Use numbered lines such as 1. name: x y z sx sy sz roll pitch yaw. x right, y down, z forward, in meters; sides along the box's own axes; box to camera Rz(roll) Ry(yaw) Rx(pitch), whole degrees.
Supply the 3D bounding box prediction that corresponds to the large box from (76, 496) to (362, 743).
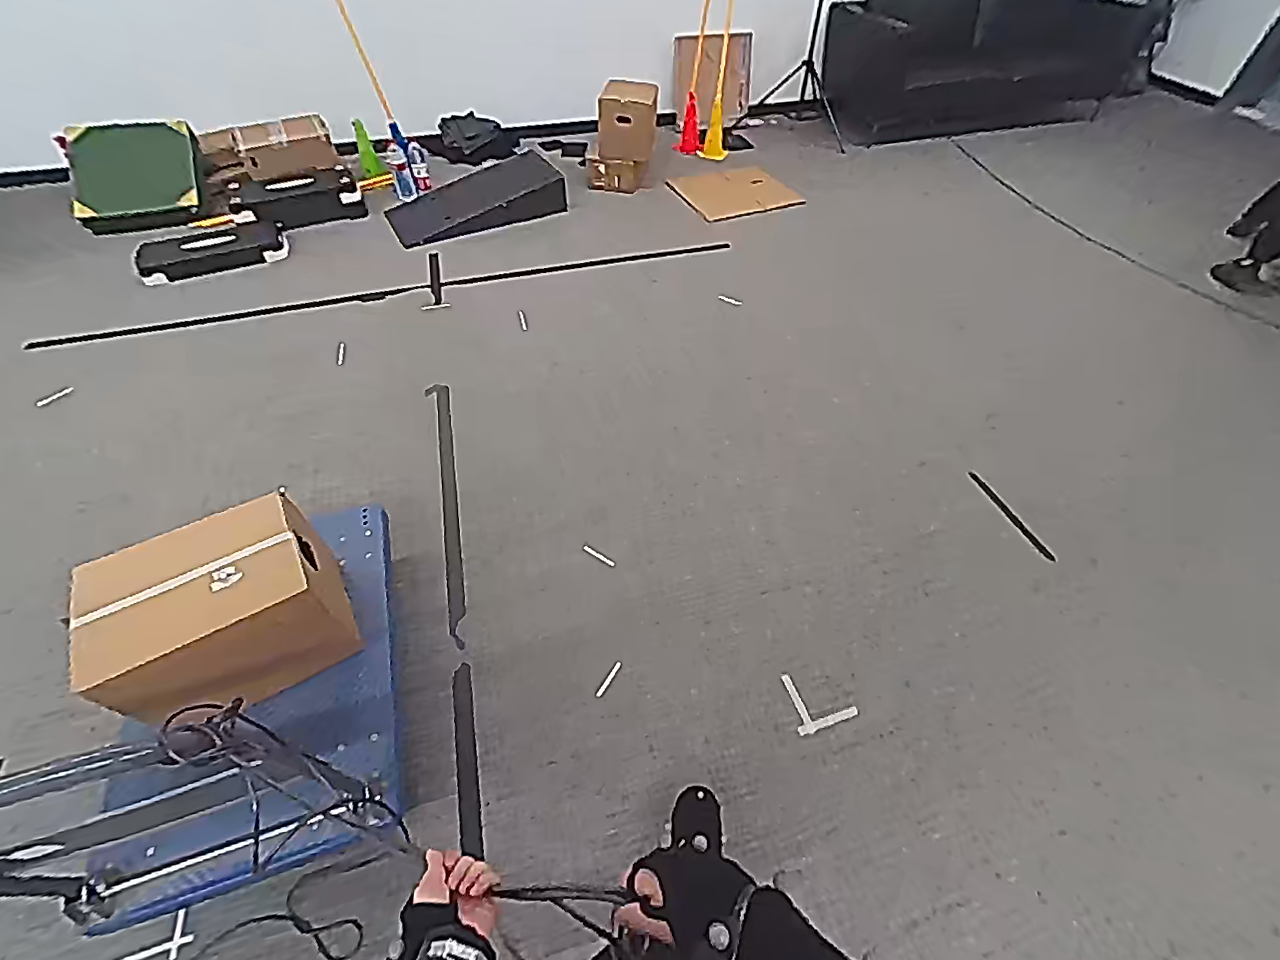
1. large box: -0.928 0.312 1.231 0.408 0.320 0.320 -26 55 -22
